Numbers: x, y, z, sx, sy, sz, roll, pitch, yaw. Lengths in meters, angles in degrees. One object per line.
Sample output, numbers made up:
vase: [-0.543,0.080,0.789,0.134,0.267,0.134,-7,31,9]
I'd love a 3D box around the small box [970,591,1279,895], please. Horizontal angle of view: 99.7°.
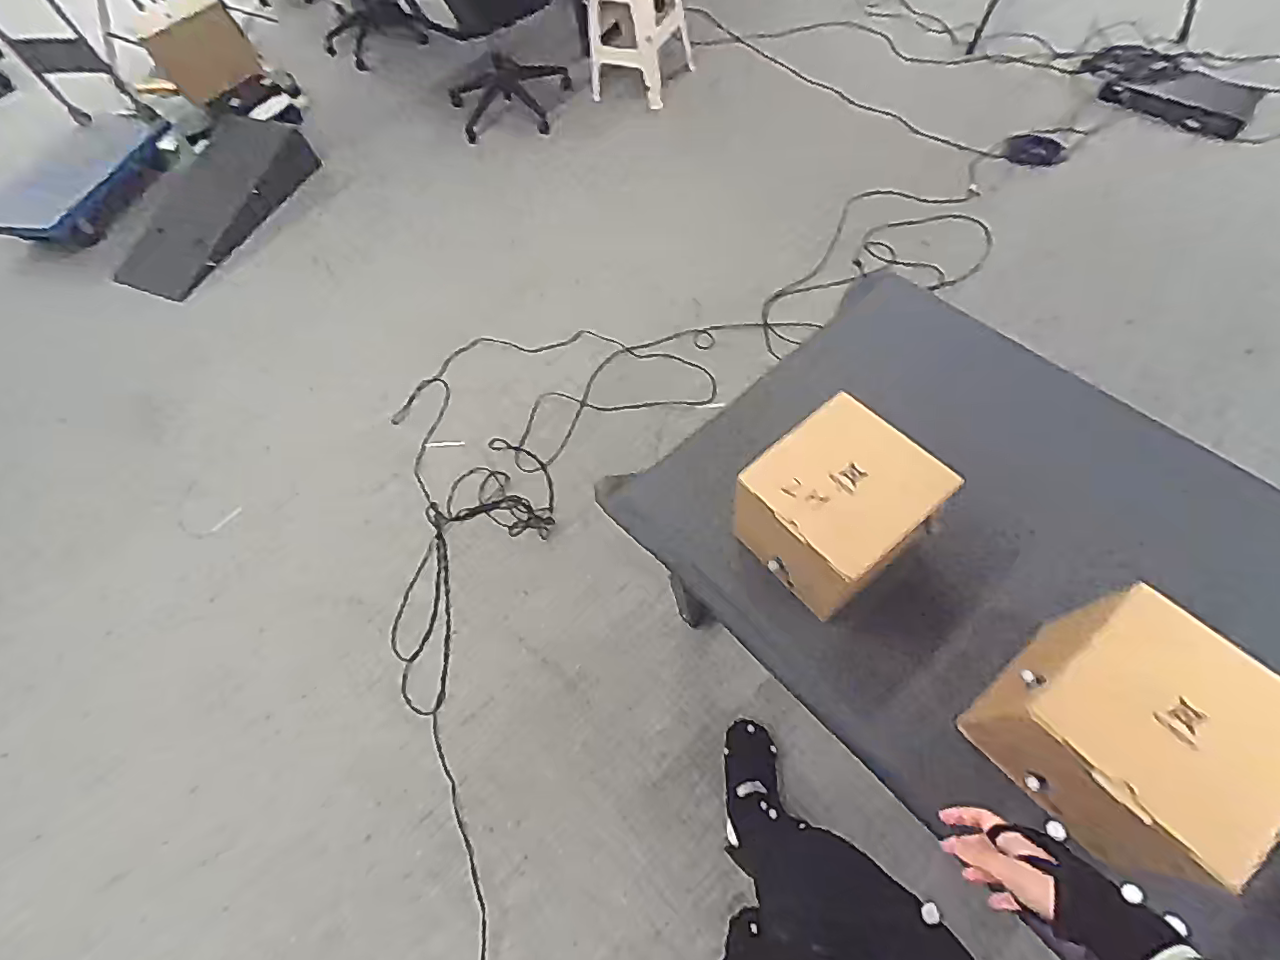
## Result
small box: [0.465,0.241,0.521,0.179,0.176,0.168,-38,64,-13]

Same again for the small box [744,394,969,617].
small box: [0.242,0.036,0.657,0.179,0.176,0.168,-36,63,-13]
